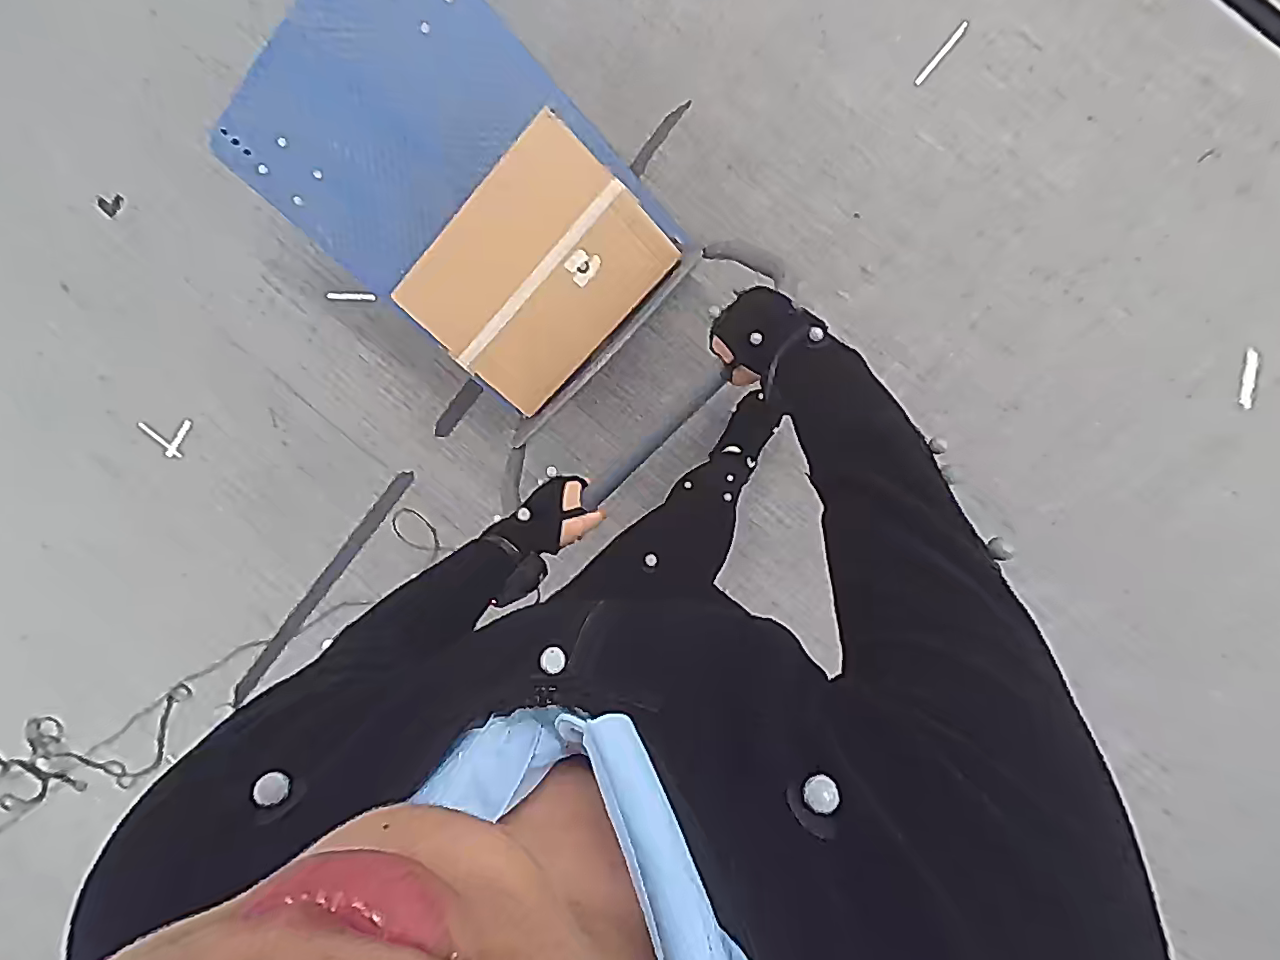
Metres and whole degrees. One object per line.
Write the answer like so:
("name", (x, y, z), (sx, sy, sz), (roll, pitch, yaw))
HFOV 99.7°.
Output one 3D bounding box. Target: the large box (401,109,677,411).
("large box", (-0.189, -0.409, 1.082), (0.320, 0.320, 0.408), (41, 101, -18))
